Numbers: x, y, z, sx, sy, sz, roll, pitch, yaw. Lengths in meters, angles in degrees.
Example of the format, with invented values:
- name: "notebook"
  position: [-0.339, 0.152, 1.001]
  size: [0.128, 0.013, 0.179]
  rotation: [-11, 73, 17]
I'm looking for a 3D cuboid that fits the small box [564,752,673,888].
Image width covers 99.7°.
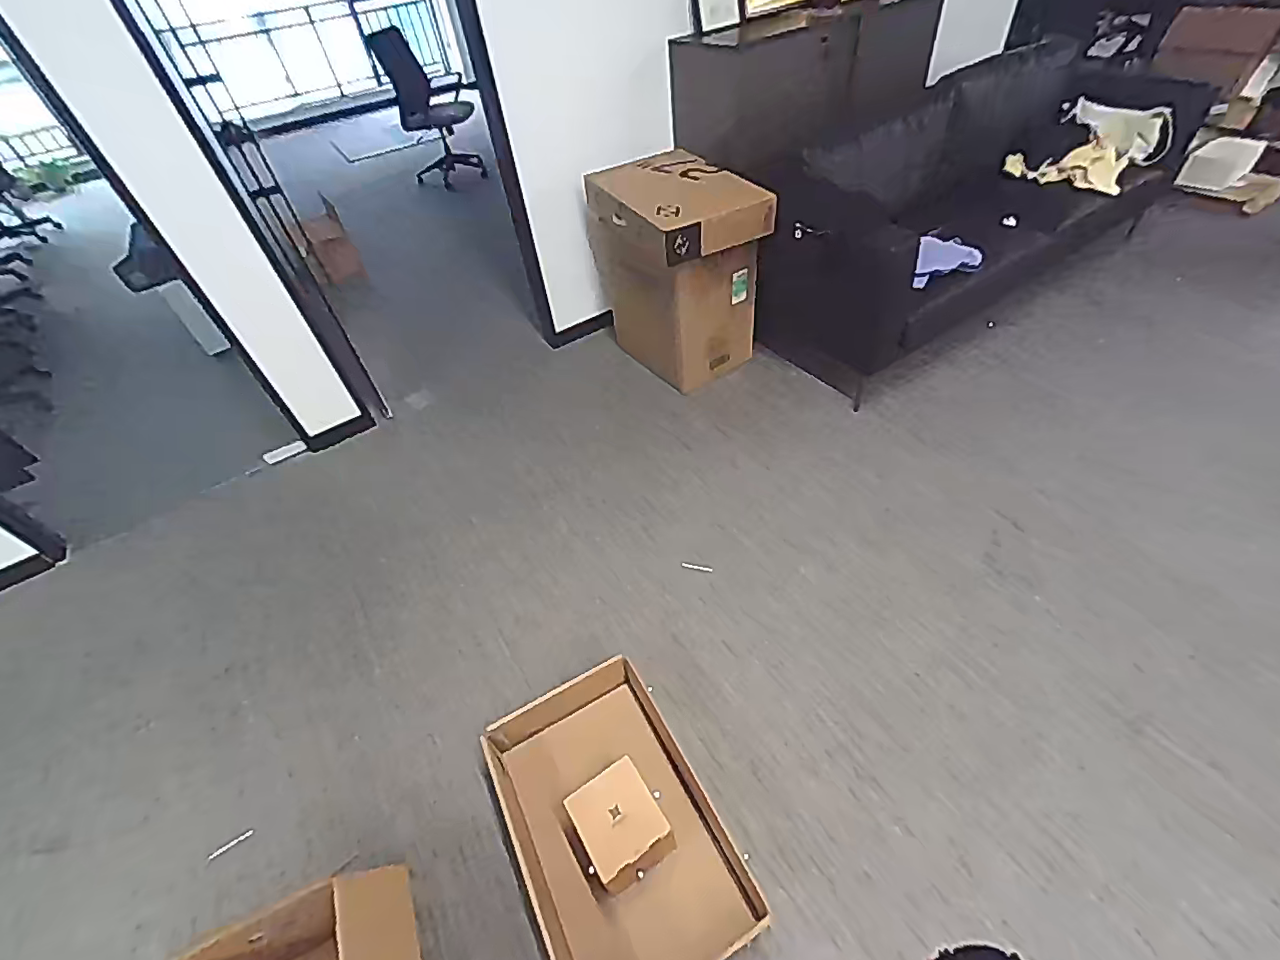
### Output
- name: "small box"
  position: [-0.044, 0.741, 1.176]
  size: [0.168, 0.176, 0.179]
  rotation: [-28, 49, -19]
